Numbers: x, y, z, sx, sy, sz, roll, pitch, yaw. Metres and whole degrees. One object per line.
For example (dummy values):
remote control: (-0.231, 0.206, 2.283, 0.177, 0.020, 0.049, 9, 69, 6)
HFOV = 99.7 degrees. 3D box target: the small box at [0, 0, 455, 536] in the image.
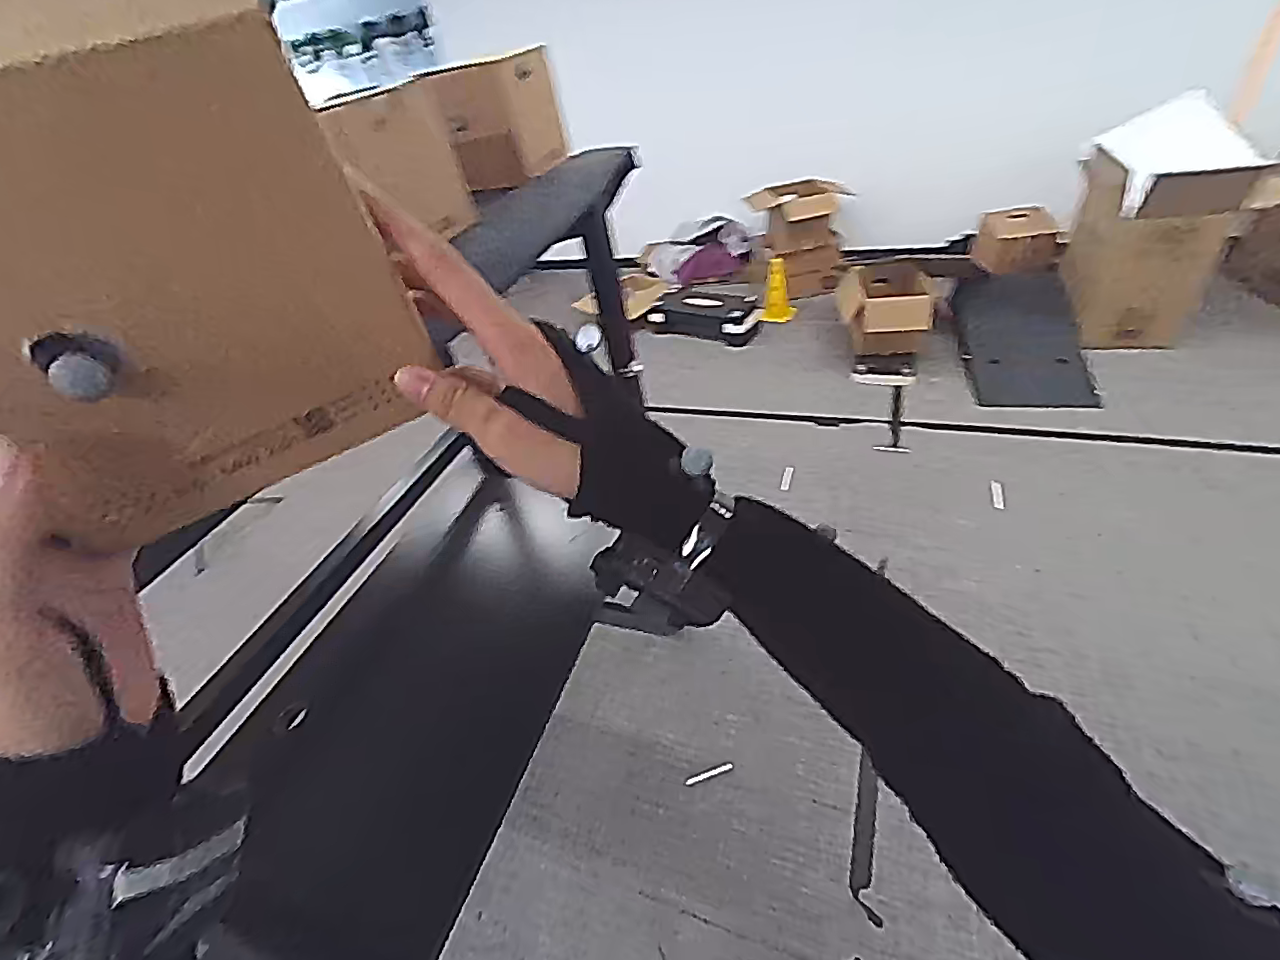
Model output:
small box: (-0.205, -0.098, 0.232, 0.168, 0.176, 0.179, -30, 61, -16)

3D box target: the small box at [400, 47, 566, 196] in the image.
small box: (-0.251, -0.594, 0.907, 0.179, 0.176, 0.168, 5, 45, 21)

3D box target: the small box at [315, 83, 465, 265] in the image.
small box: (-0.355, -0.365, 0.677, 0.179, 0.176, 0.168, 5, 44, 23)
